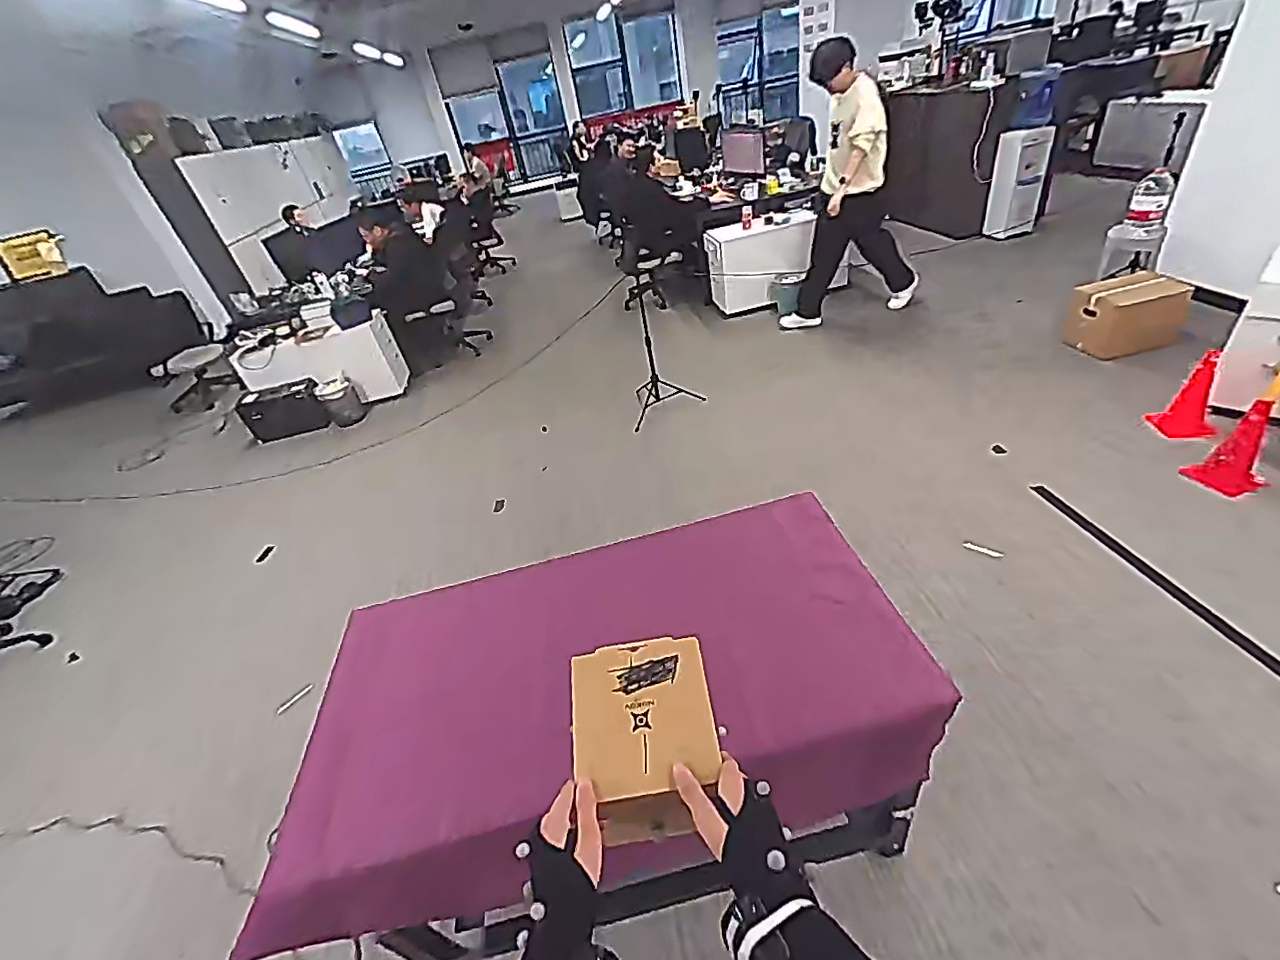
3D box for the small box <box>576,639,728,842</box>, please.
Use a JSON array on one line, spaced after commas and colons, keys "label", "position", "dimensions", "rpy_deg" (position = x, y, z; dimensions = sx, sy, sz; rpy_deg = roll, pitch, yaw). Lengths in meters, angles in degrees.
[{"label": "small box", "position": [0.014, 0.334, 0.695], "dimensions": [0.168, 0.176, 0.179], "rpy_deg": [-10, 43, 1]}]
